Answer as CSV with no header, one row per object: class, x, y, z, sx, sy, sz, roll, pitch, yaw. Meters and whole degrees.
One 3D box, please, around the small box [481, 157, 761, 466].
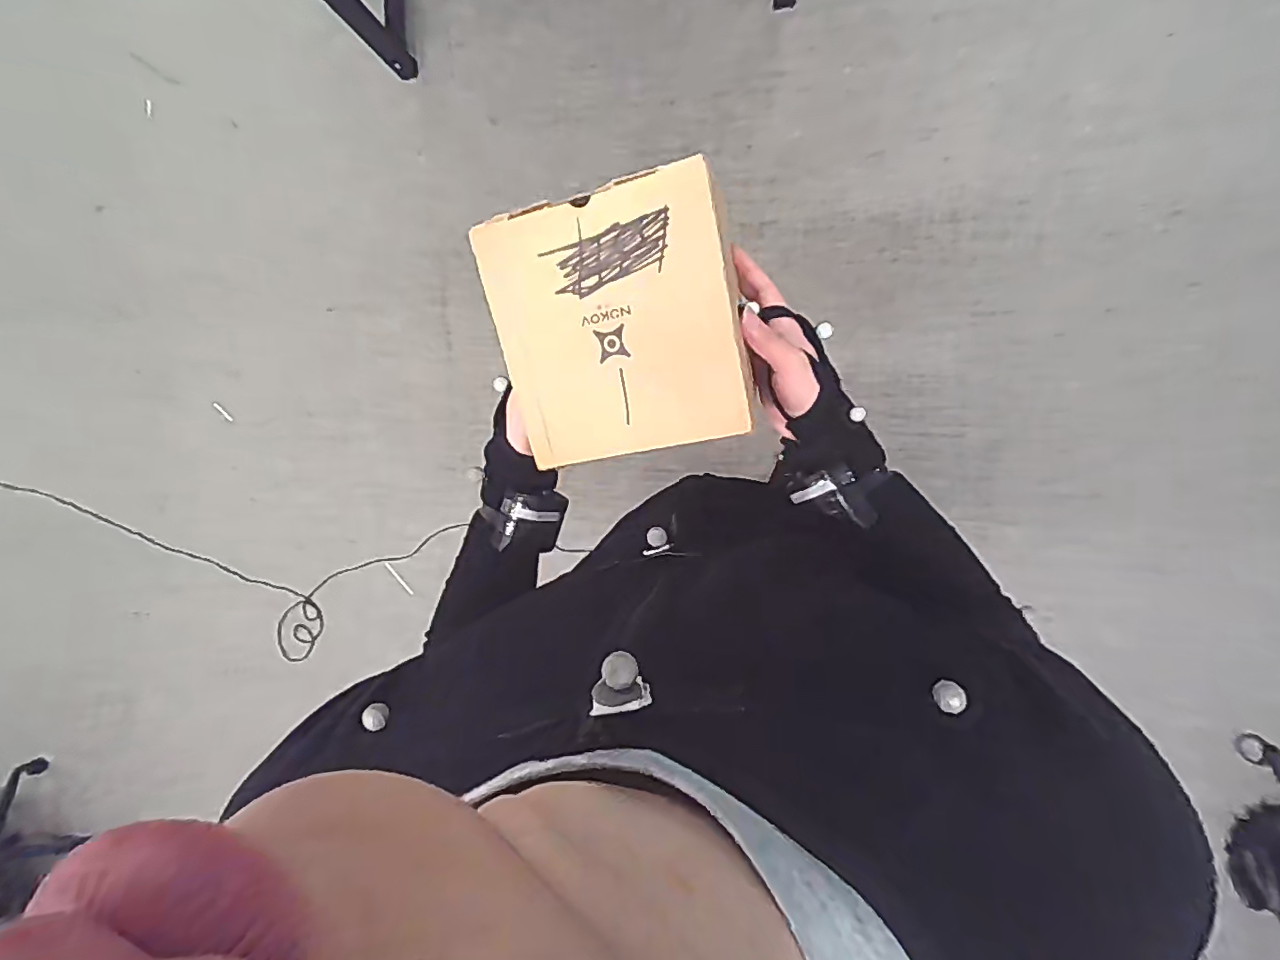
small box,0.003,-0.126,0.441,0.168,0.176,0.179,-9,106,16
